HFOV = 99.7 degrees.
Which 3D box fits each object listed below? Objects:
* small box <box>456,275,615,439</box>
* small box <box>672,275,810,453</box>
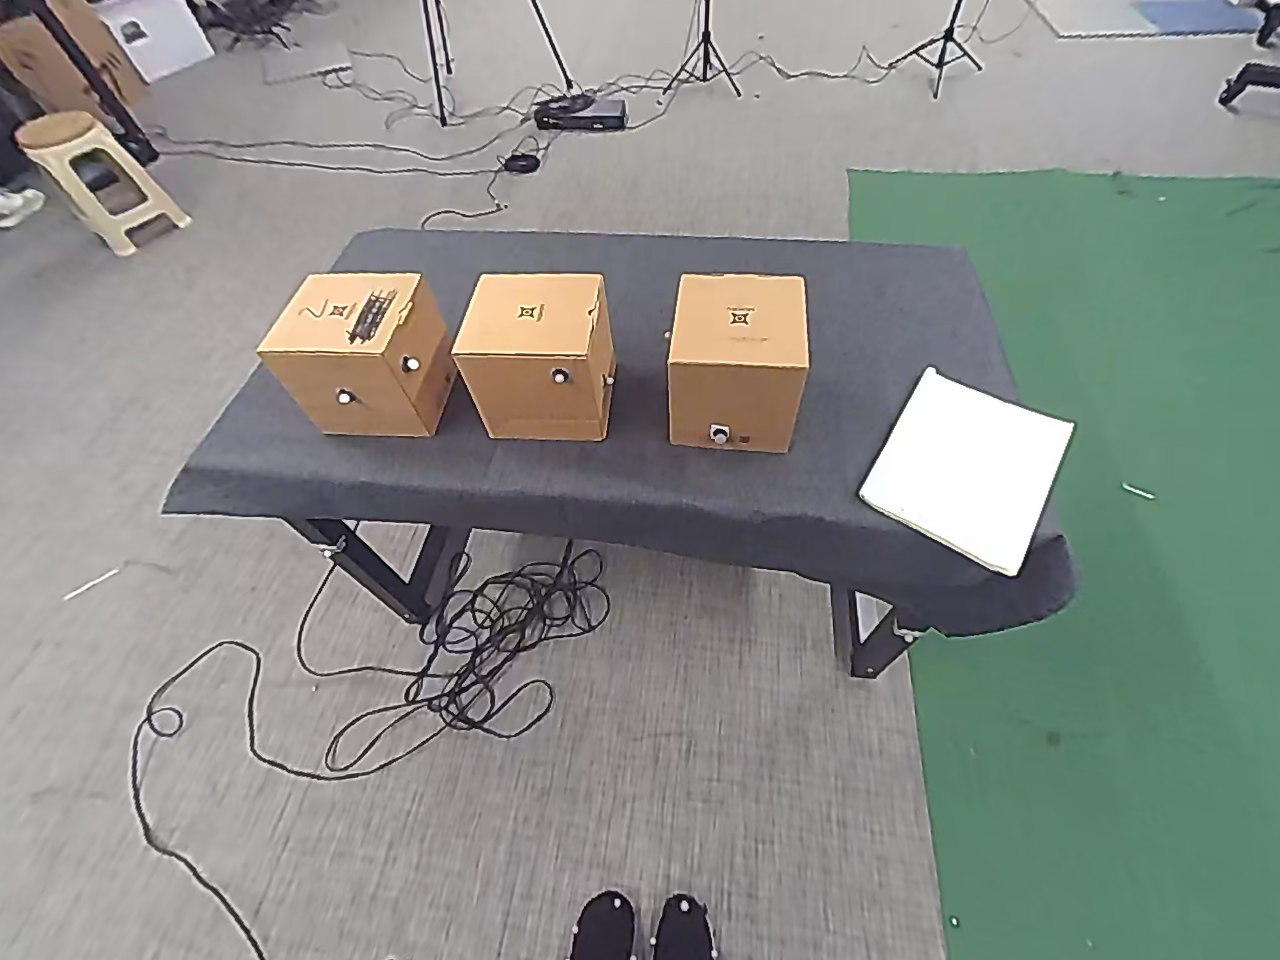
[{"bbox_3d":[-0.136,-0.172,0.778,0.179,0.176,0.168,1,55,4],"label":"small box"},{"bbox_3d":[0.134,-0.160,0.750,0.168,0.176,0.179,3,56,8],"label":"small box"}]
